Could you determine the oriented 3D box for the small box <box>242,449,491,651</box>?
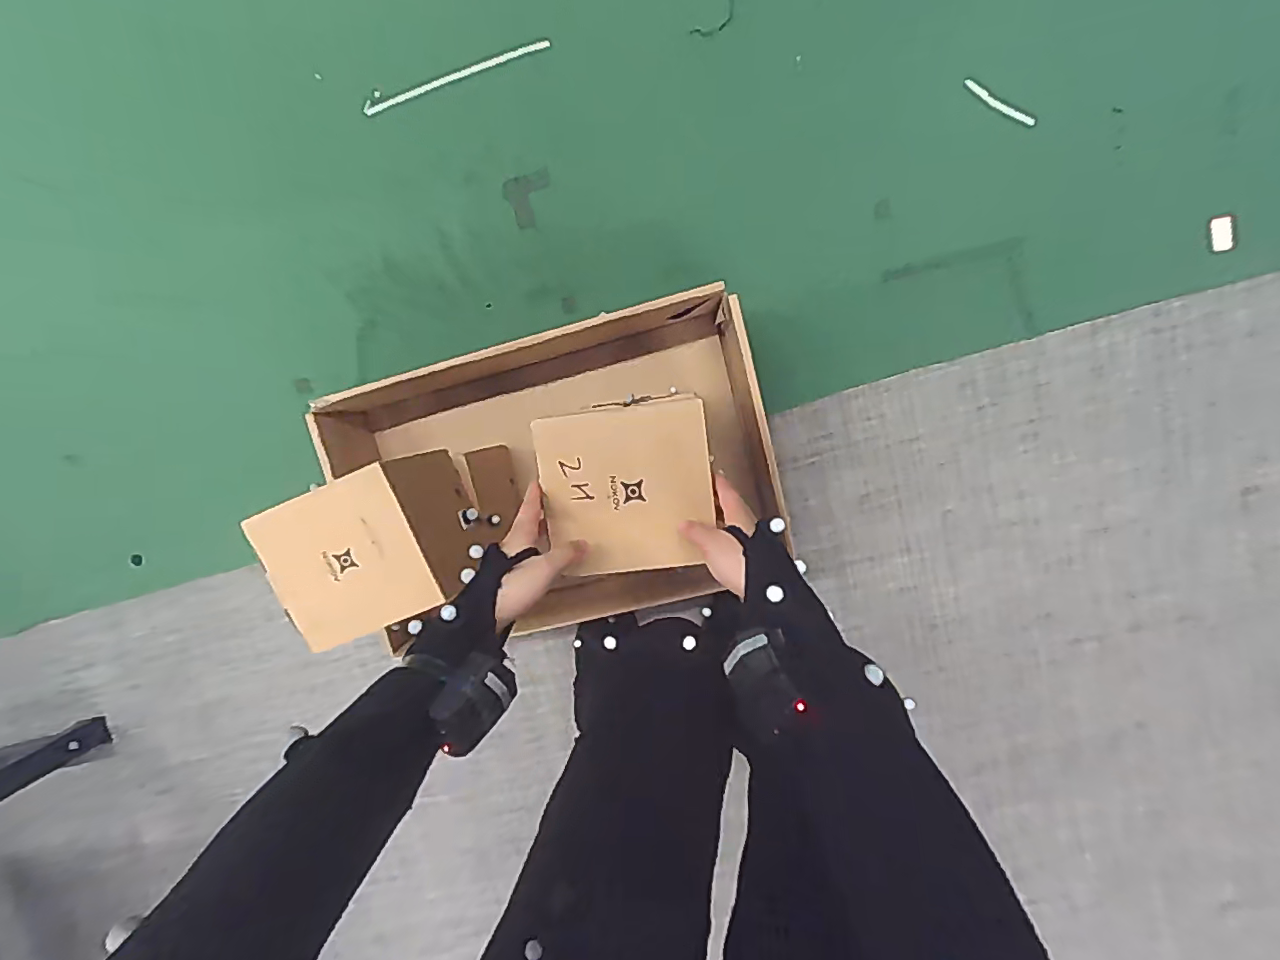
[{"bbox_3d":[-0.308,0.072,0.648,0.179,0.176,0.168,-22,97,5],"label":"small box"}]

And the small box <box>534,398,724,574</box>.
[{"bbox_3d":[-0.005,-0.003,0.615,0.179,0.176,0.168,-6,97,6],"label":"small box"}]
